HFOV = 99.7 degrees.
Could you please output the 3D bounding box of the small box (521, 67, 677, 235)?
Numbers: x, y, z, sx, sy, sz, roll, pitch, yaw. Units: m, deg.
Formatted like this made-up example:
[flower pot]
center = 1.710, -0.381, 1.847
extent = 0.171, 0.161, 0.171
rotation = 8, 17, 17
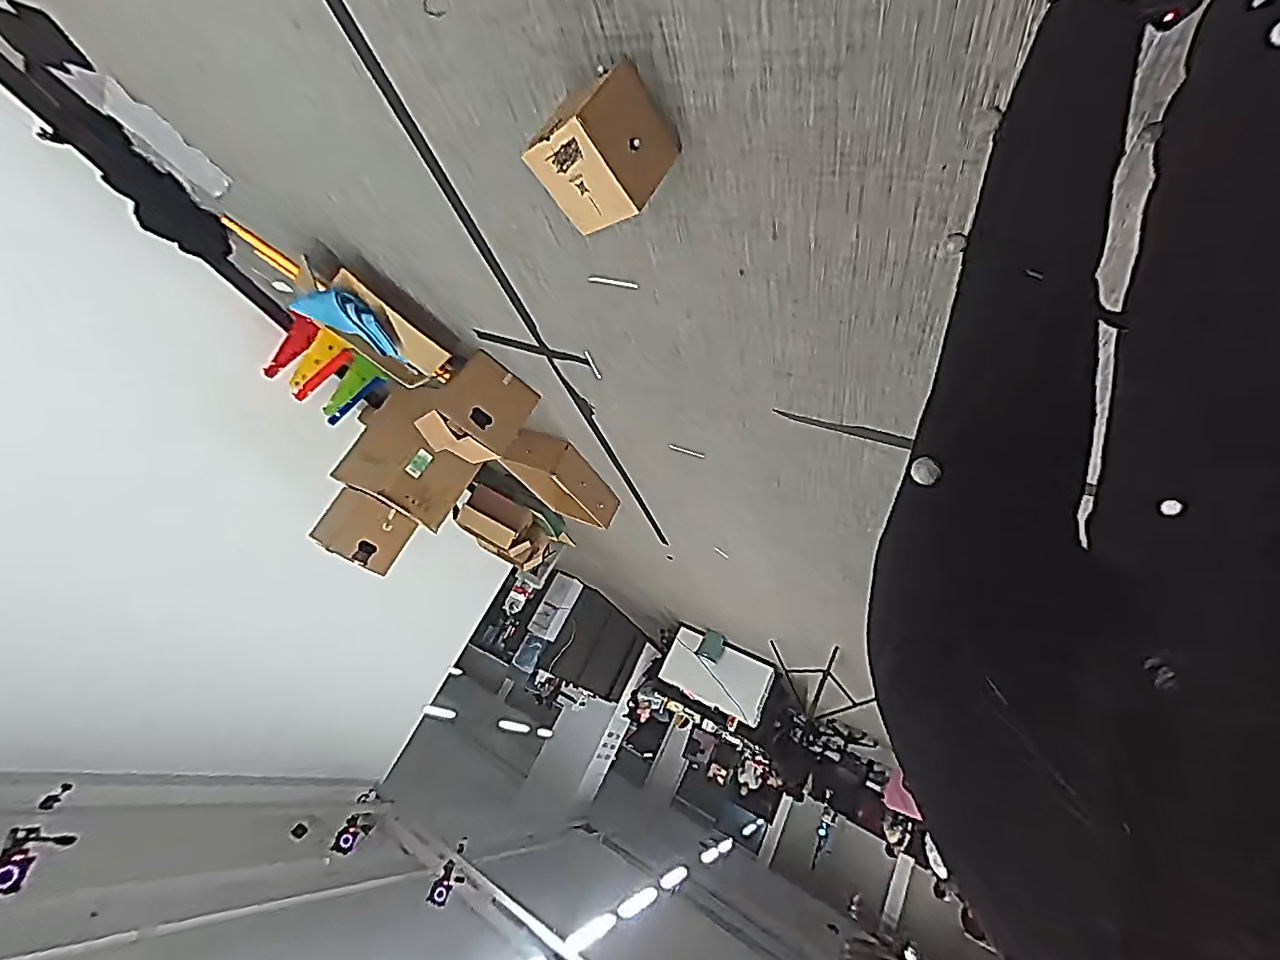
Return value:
[small box]
center = -0.067, -0.576, 0.951
extent = 0.168, 0.176, 0.179
rotation = 7, 152, 47
